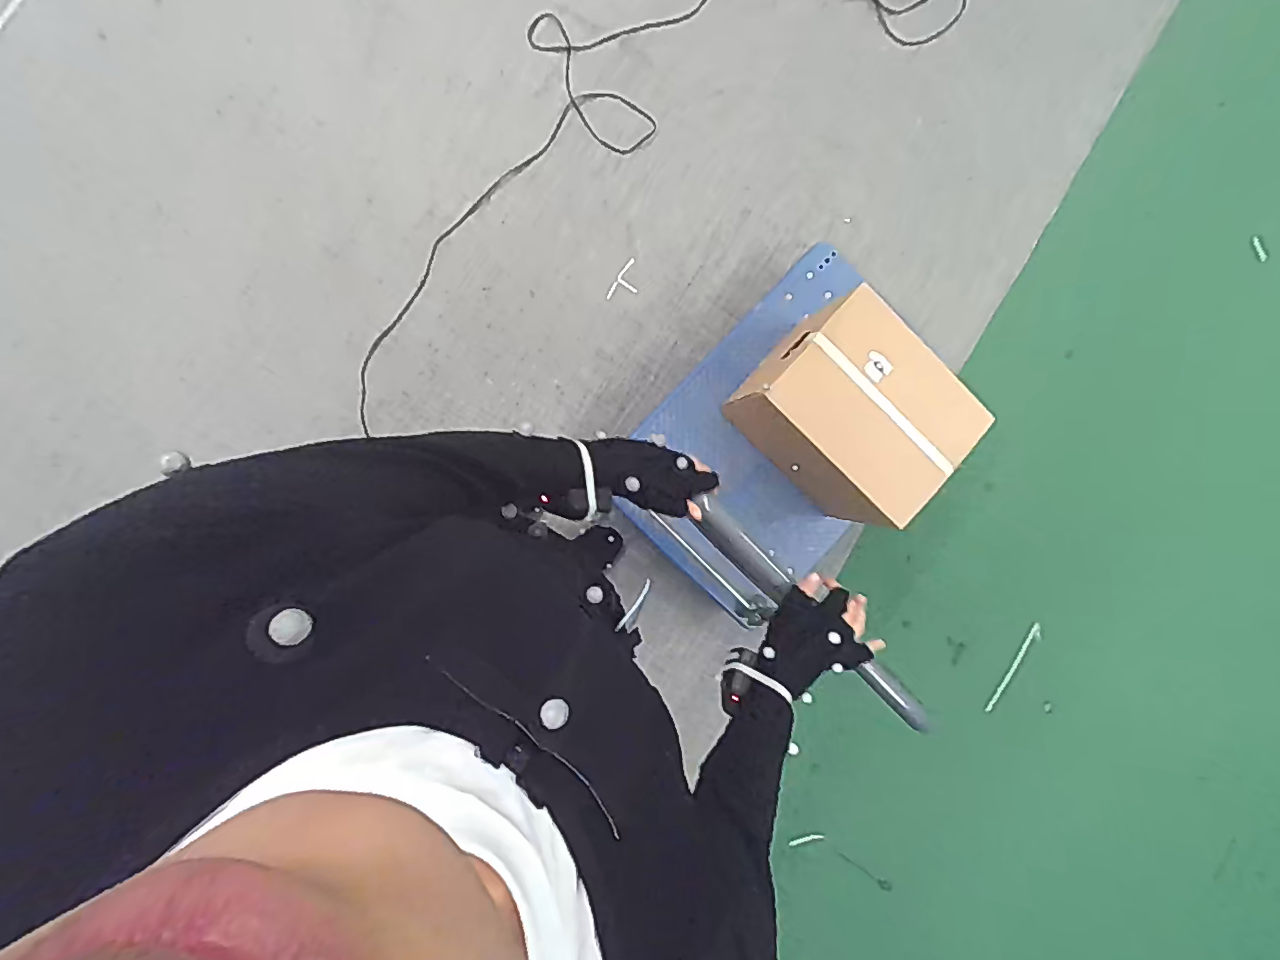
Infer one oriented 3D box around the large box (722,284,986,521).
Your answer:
[{"bbox_3d":[0.463,-0.158,1.246,0.408,0.320,0.320,43,85,-6],"label":"large box"}]
